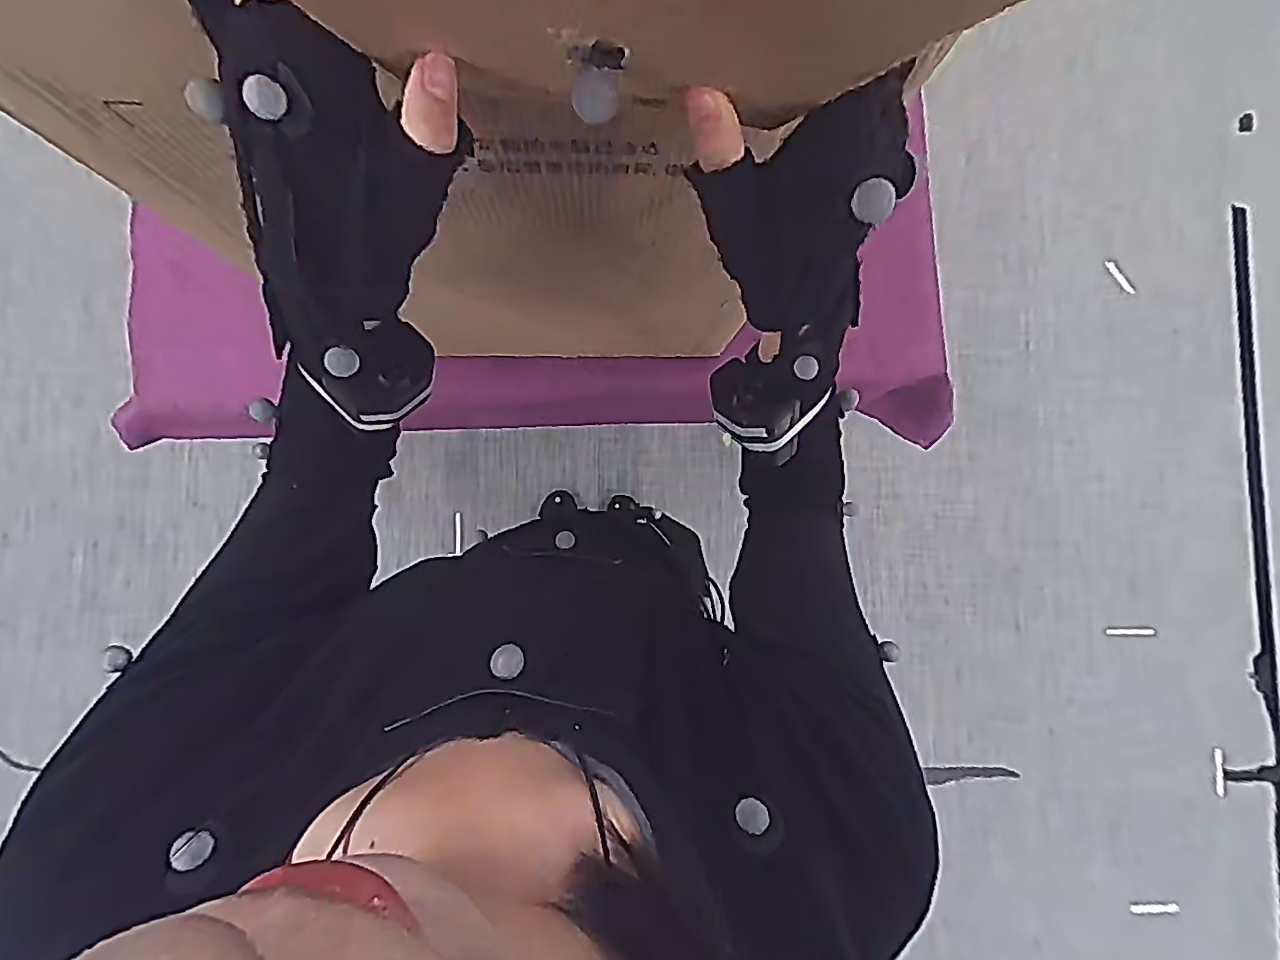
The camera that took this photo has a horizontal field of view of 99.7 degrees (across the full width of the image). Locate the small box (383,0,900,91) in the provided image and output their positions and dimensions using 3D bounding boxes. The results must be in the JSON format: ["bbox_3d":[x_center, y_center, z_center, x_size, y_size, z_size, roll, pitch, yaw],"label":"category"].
[{"bbox_3d":[0.000,-0.208,0.114,0.168,0.176,0.179,3,115,-6],"label":"small box"}]
